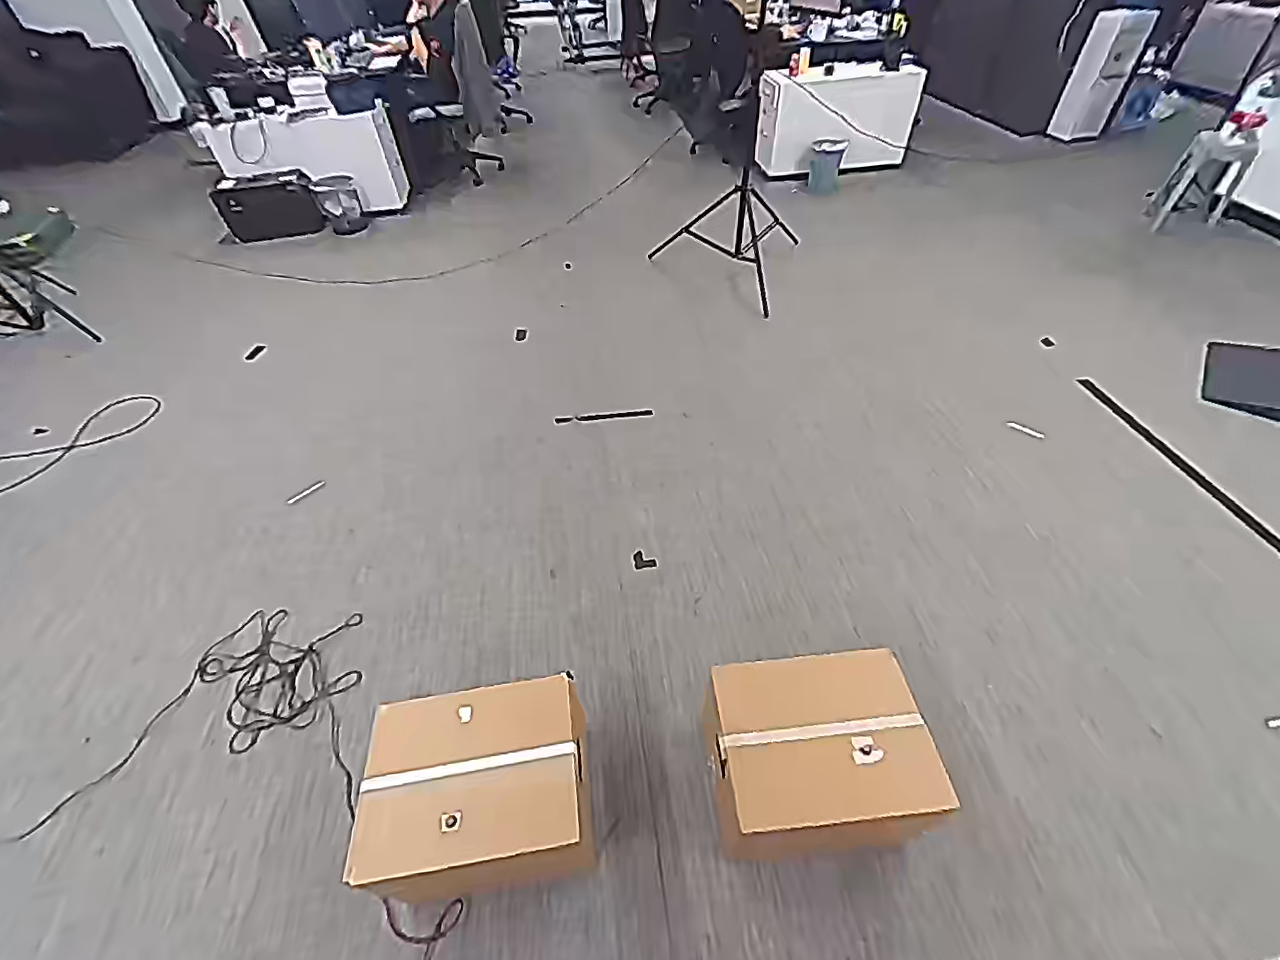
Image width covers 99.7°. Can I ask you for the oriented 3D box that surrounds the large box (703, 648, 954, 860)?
[{"bbox_3d":[0.369,0.602,1.188,0.408,0.320,0.320,-4,47,-3],"label":"large box"}]
